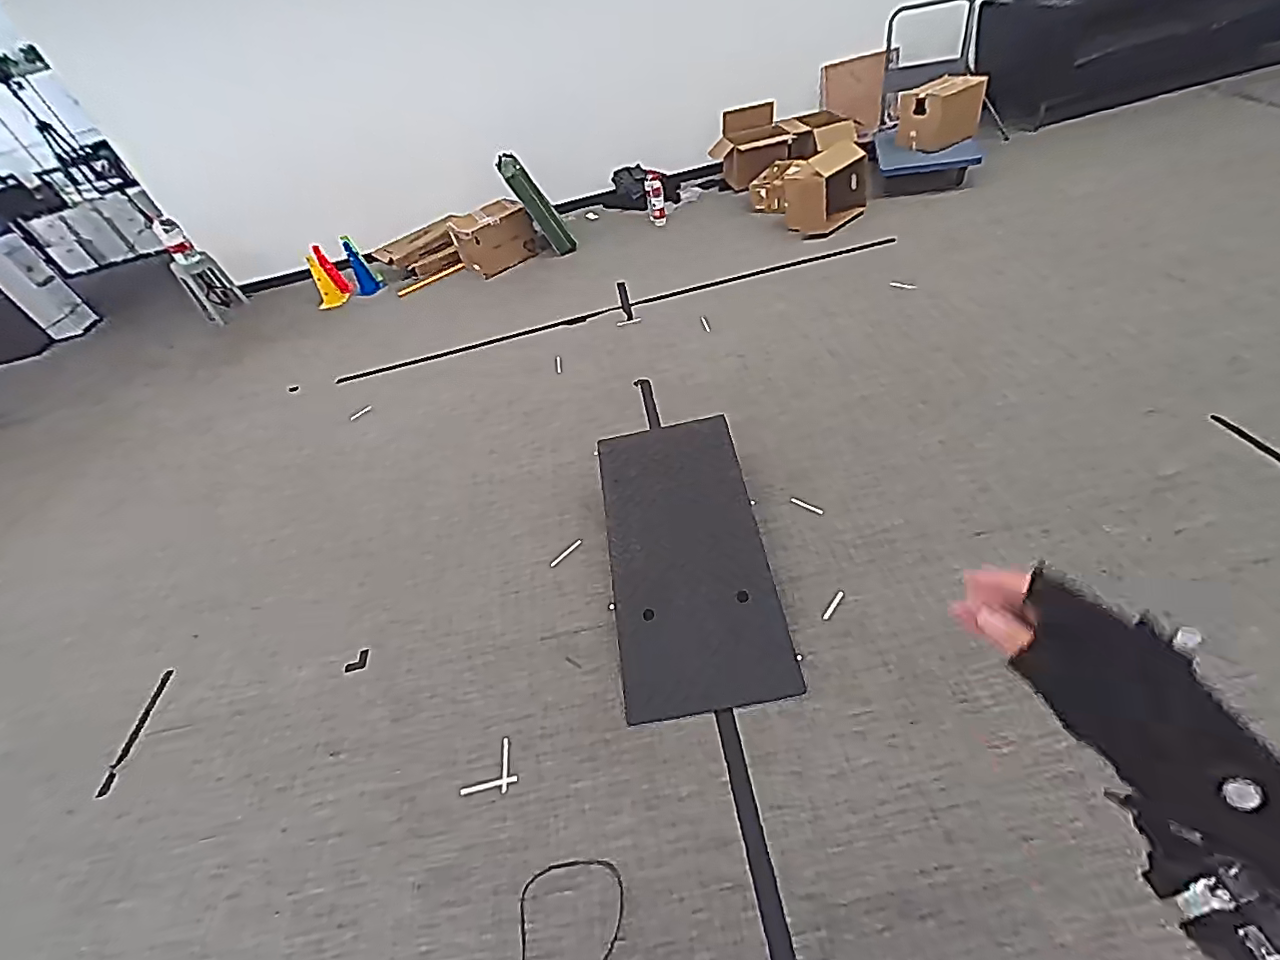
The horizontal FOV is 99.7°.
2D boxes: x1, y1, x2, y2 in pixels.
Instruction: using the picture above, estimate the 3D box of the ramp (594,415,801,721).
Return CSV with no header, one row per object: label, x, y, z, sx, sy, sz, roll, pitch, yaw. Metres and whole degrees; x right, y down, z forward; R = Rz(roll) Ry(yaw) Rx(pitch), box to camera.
ramp,0.133,0.209,1.741,0.509,0.206,0.991,-12,44,1
